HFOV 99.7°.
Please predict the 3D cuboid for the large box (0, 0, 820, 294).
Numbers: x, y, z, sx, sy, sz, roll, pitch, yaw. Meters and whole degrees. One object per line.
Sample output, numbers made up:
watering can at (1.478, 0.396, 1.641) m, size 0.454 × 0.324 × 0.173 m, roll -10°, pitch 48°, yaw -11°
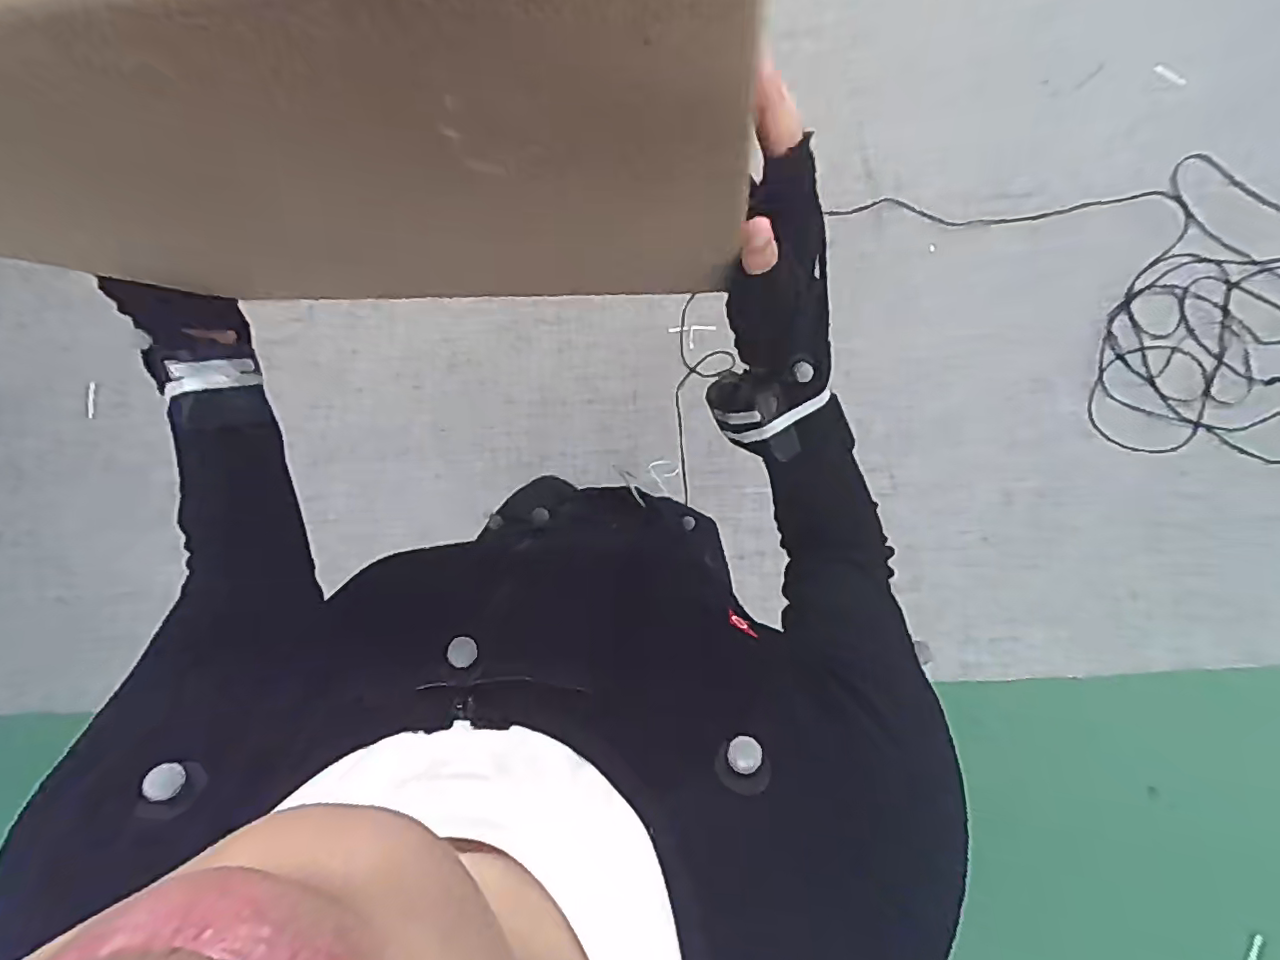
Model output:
large box at (-0.140, -0.274, 0.239) m, size 0.408 × 0.320 × 0.320 m, roll 2°, pitch 100°, yaw 8°
